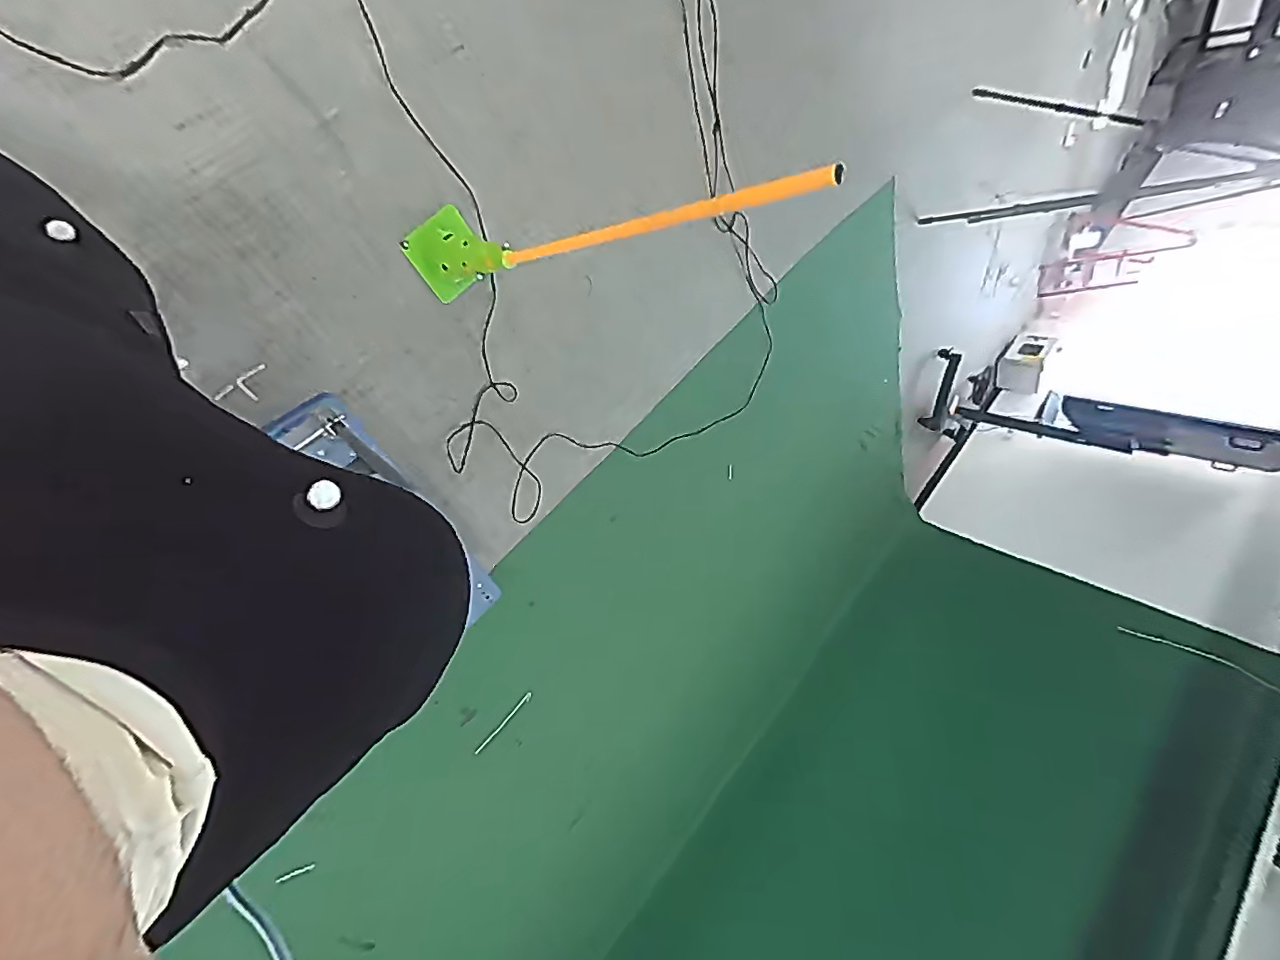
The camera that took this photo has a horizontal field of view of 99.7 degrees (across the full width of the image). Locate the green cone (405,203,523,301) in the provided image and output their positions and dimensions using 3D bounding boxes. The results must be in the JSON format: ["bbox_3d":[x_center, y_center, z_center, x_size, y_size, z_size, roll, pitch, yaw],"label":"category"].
[{"bbox_3d":[-0.420,-0.588,1.416,0.202,0.368,0.200,-50,136,-16],"label":"green cone"}]
